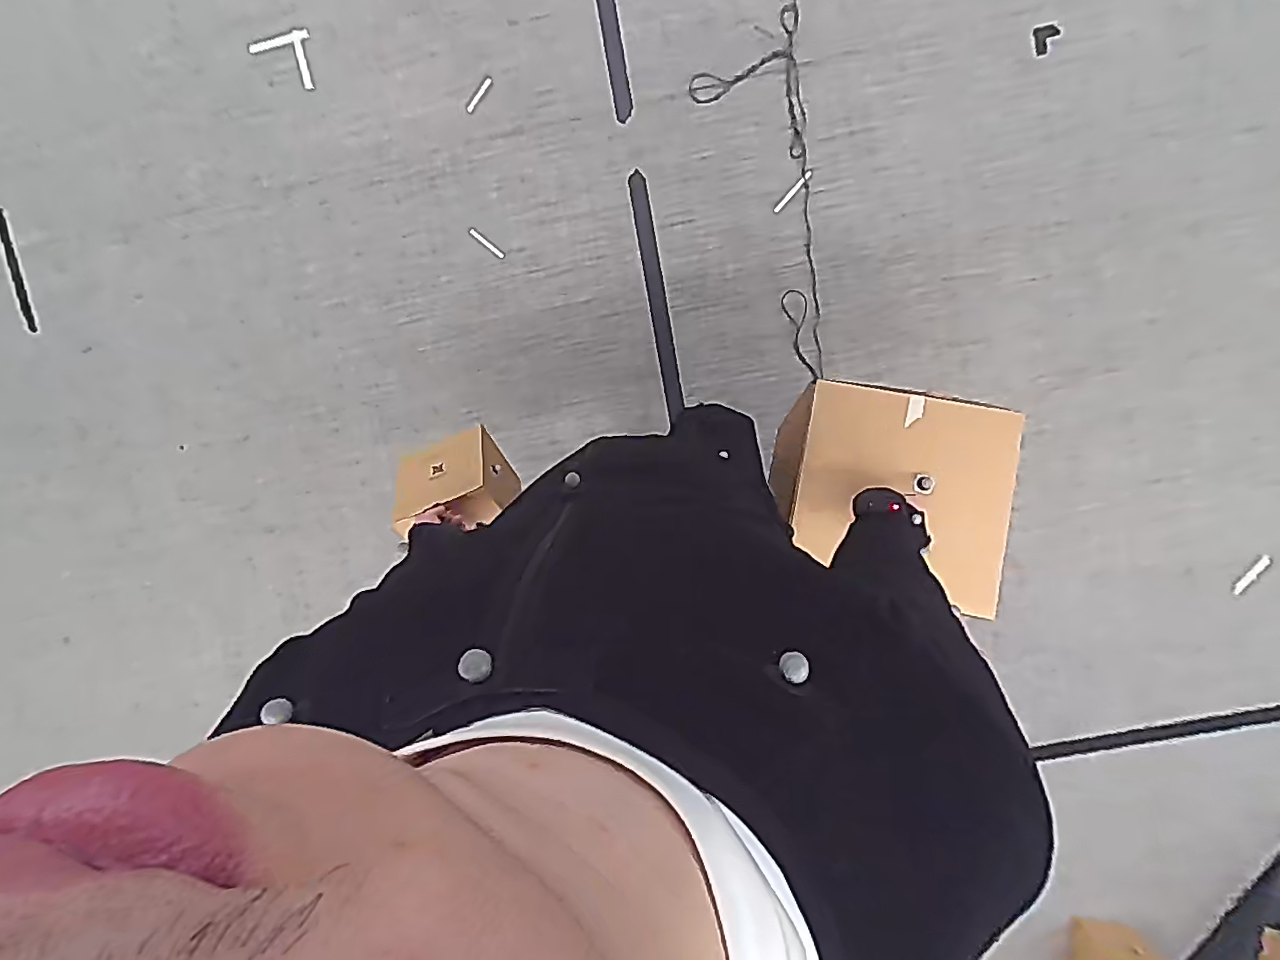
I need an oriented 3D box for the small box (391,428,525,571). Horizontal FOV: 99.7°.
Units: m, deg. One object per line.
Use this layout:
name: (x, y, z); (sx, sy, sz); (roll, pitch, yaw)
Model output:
small box: (-0.319, 0.043, 0.975); (0.168, 0.179, 0.176); (-21, 134, 1)
